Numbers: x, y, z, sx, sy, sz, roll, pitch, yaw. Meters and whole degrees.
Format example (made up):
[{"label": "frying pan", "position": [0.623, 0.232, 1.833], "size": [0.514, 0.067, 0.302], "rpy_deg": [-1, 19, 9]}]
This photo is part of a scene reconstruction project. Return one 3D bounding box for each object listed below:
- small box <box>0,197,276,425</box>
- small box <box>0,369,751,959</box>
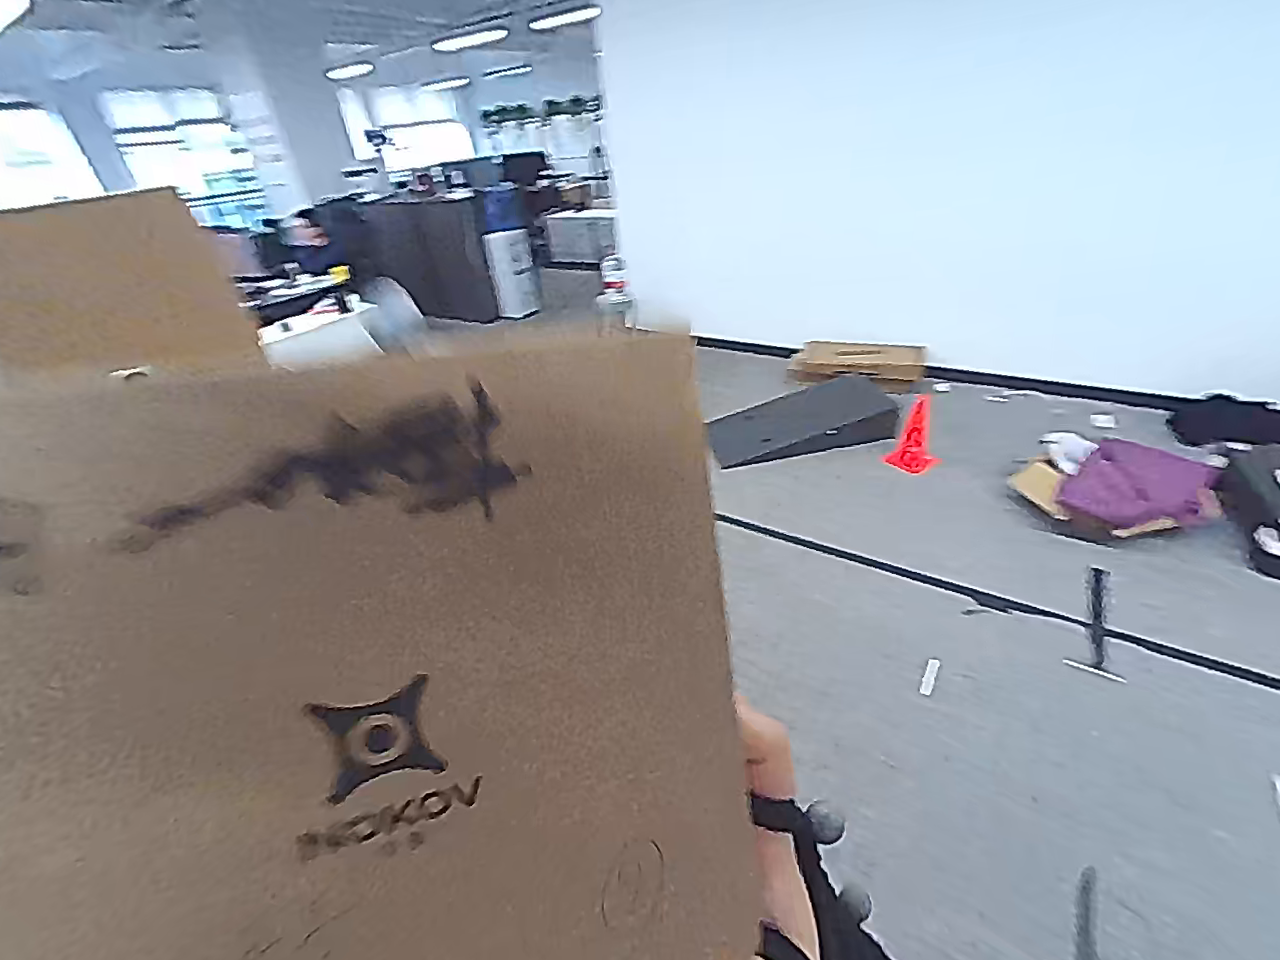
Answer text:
[{"label": "small box", "position": [-0.463, -0.130, 0.461], "size": [0.179, 0.176, 0.168], "rpy_deg": [16, 41, 32]}, {"label": "small box", "position": [-0.076, 0.058, 0.202], "size": [0.168, 0.179, 0.176], "rpy_deg": [-9, 9, -17]}]
